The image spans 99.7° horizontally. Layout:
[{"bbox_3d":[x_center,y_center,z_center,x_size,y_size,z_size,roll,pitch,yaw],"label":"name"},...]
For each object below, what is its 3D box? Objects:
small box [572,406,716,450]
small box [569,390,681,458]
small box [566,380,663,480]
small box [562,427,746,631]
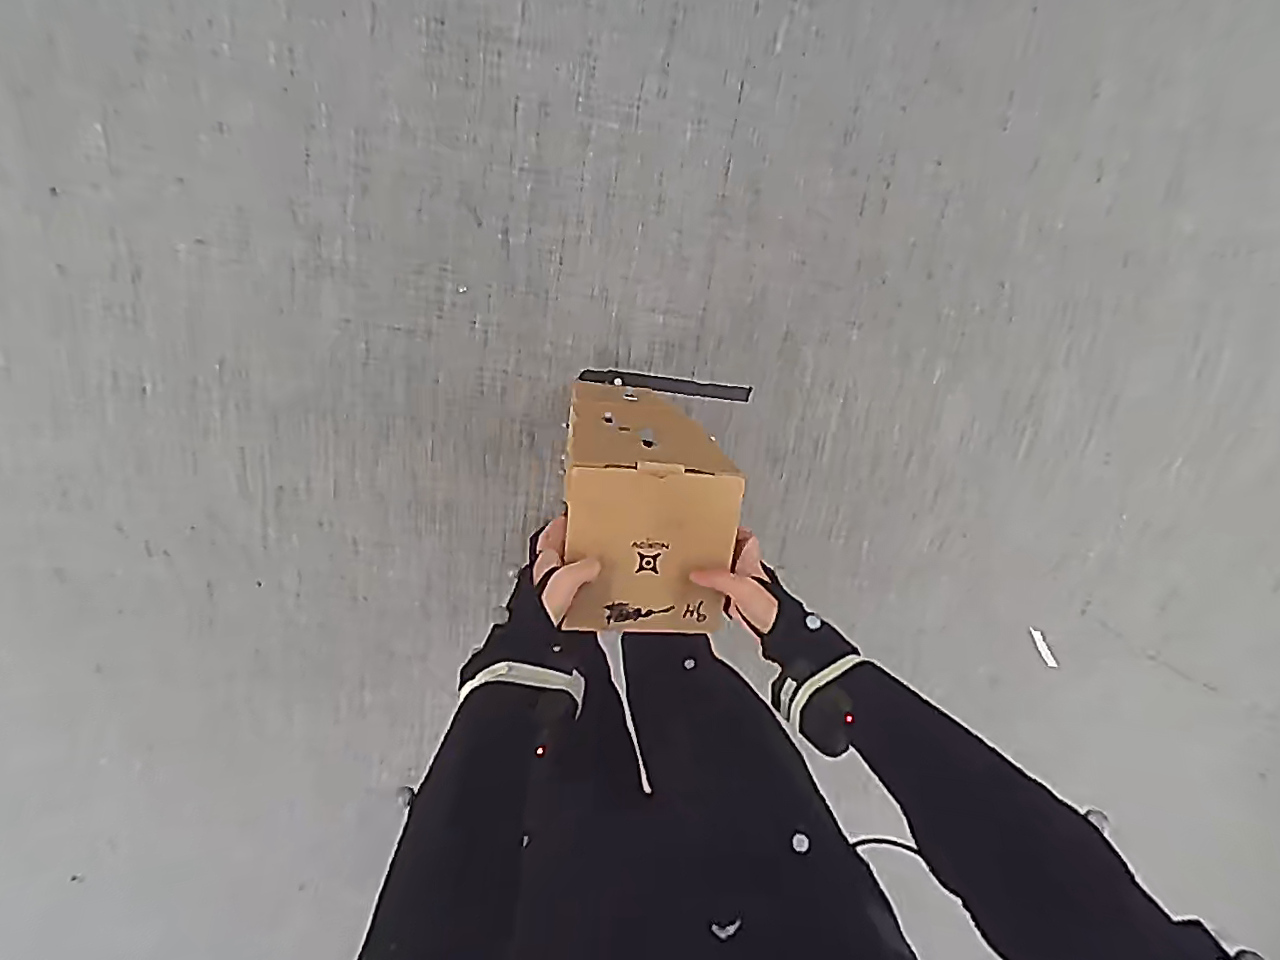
[{"bbox_3d":[-0.009,-0.006,0.760,0.179,0.176,0.168,4,106,-9],"label":"small box"},{"bbox_3d":[-0.033,-0.050,0.914,0.168,0.176,0.179,4,105,-9],"label":"small box"},{"bbox_3d":[-0.055,-0.094,1.069,0.168,0.176,0.179,5,105,-8],"label":"small box"},{"bbox_3d":[0.002,0.044,0.597,0.168,0.176,0.179,4,108,-8],"label":"small box"}]
